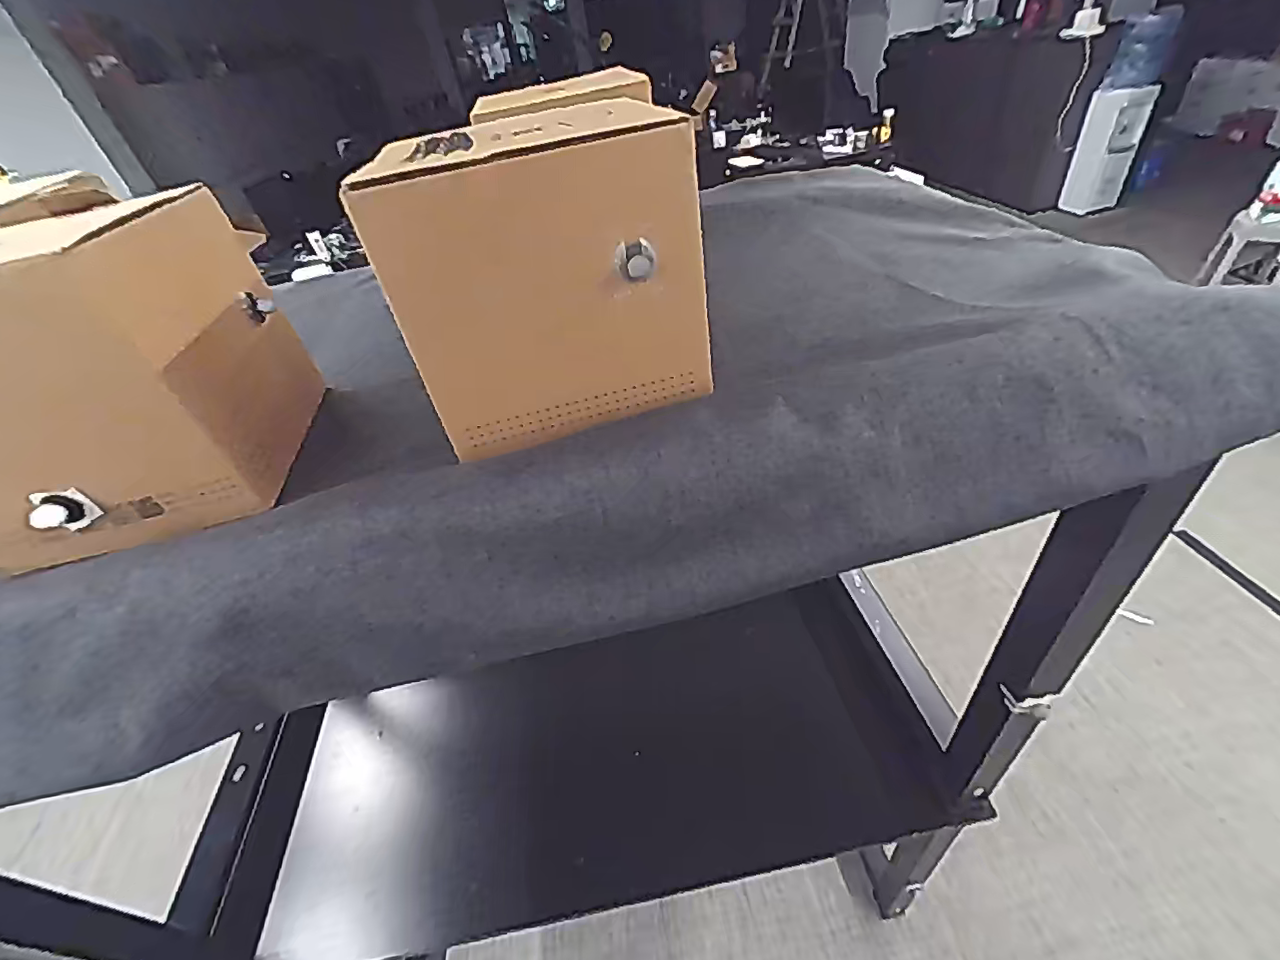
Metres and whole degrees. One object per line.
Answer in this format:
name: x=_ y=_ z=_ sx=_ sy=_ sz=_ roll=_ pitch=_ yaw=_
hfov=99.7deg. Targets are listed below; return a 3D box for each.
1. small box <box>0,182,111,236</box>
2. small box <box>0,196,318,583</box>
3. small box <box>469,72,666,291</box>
small box: x=-0.635 y=-0.188 z=0.565 sx=0.179 sy=0.176 sz=0.168 roll=-13 pitch=40 yaw=-4
small box: x=-0.347 y=-0.065 z=0.354 sx=0.168 sy=0.176 sz=0.179 roll=-16 pitch=39 yaw=-4
small box: x=-0.074 y=-0.322 z=0.594 sx=0.168 sy=0.176 sz=0.179 roll=-14 pitch=40 yaw=-2
